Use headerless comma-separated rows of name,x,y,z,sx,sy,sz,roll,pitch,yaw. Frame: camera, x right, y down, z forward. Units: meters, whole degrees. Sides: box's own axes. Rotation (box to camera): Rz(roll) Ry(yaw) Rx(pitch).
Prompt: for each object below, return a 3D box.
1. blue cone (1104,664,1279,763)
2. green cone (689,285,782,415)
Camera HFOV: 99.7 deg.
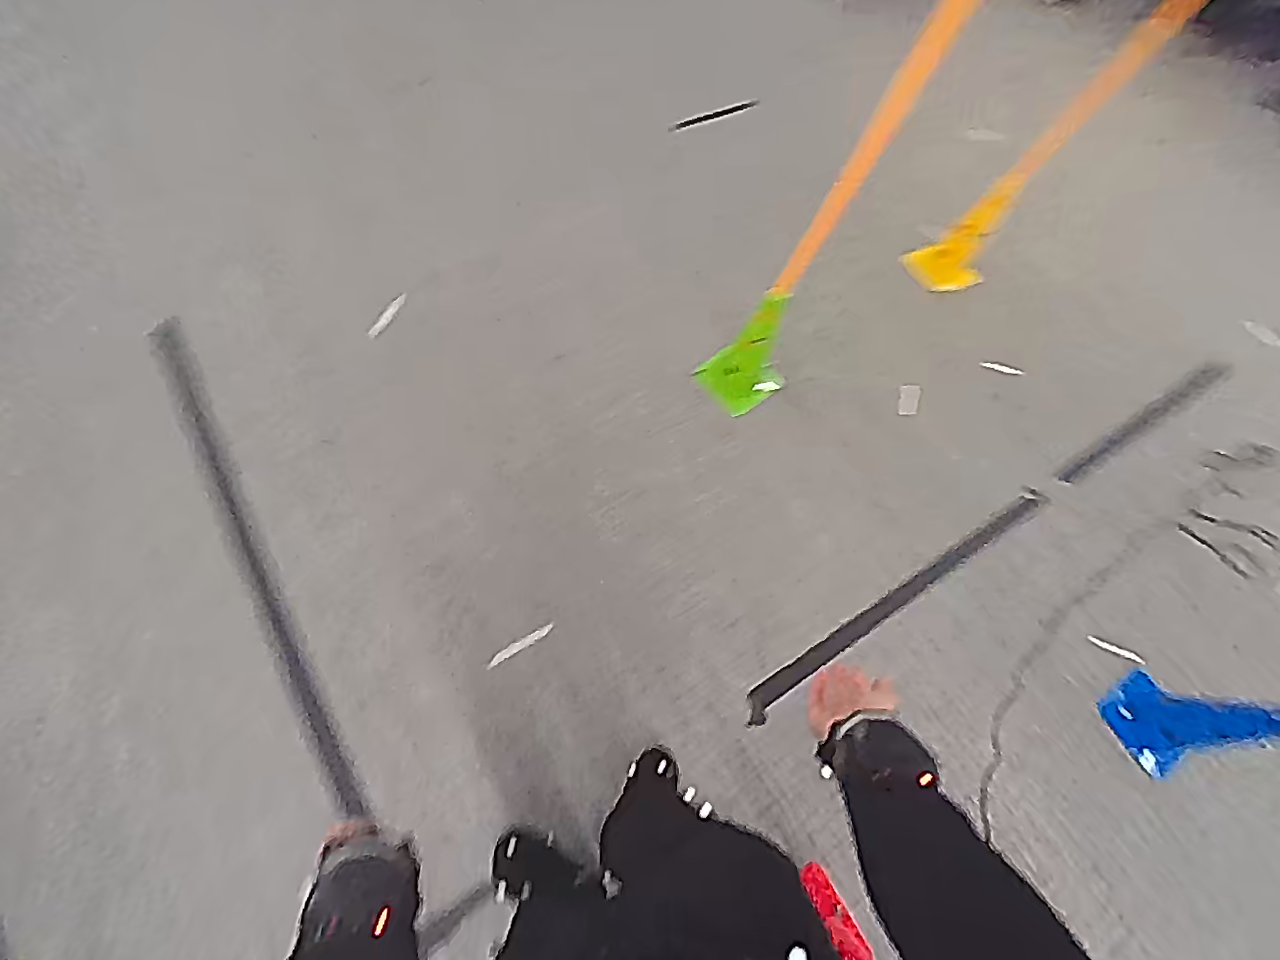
blue cone,1.298,0.515,1.210,0.192,0.380,0.193,-25,71,-19
green cone,0.299,-0.378,1.472,0.202,0.368,0.200,-39,76,-24
